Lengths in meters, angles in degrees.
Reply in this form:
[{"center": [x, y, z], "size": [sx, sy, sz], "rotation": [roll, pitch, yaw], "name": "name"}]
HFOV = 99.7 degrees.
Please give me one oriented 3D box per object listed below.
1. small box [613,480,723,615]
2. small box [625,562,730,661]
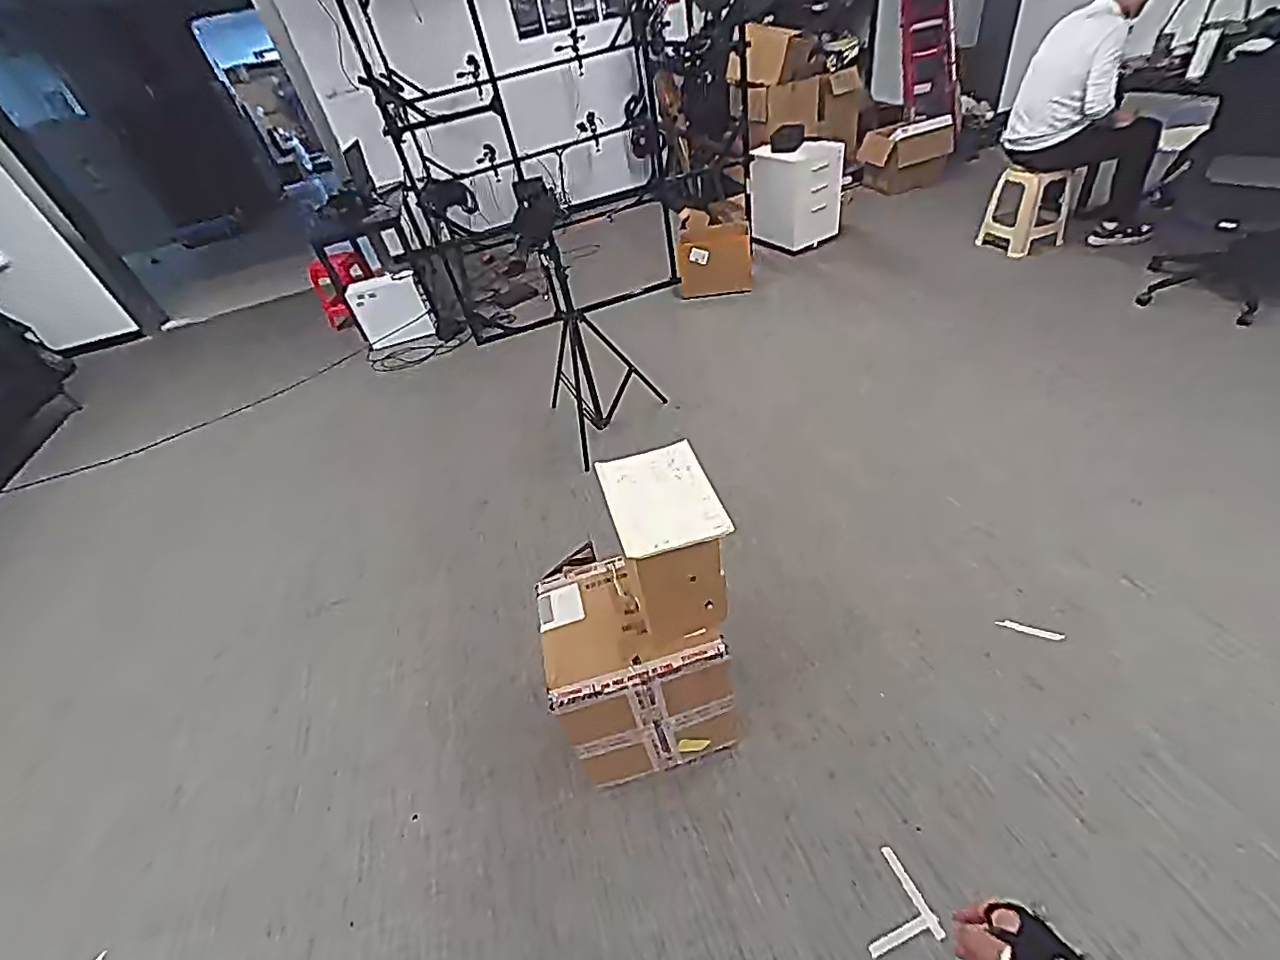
[{"center": [0.055, 0.132, 1.070], "size": [0.168, 0.176, 0.179], "rotation": [-17, 42, -8], "name": "small box"}, {"center": [0.083, 0.258, 1.172], "size": [0.179, 0.176, 0.168], "rotation": [-20, 42, -9], "name": "small box"}]
